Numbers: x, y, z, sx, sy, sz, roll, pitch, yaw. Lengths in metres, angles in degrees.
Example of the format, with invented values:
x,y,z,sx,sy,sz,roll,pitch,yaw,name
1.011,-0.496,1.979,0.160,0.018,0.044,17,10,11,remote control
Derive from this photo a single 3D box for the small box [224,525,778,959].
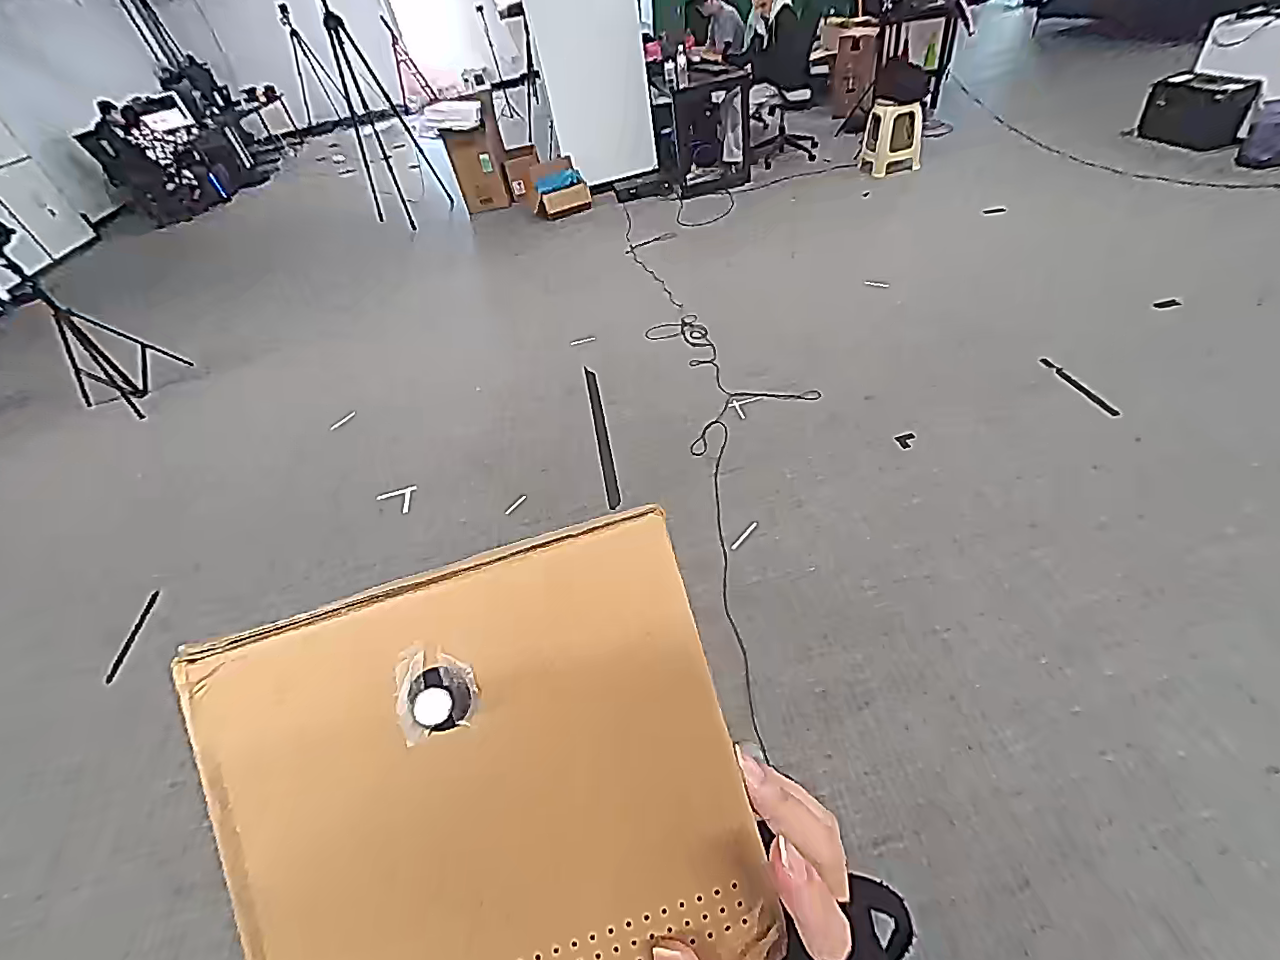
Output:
x,y,z,sx,sy,sz,roll,pitch,yaw,name
-0.054,0.129,0.280,0.179,0.176,0.168,-17,-2,-4,small box
